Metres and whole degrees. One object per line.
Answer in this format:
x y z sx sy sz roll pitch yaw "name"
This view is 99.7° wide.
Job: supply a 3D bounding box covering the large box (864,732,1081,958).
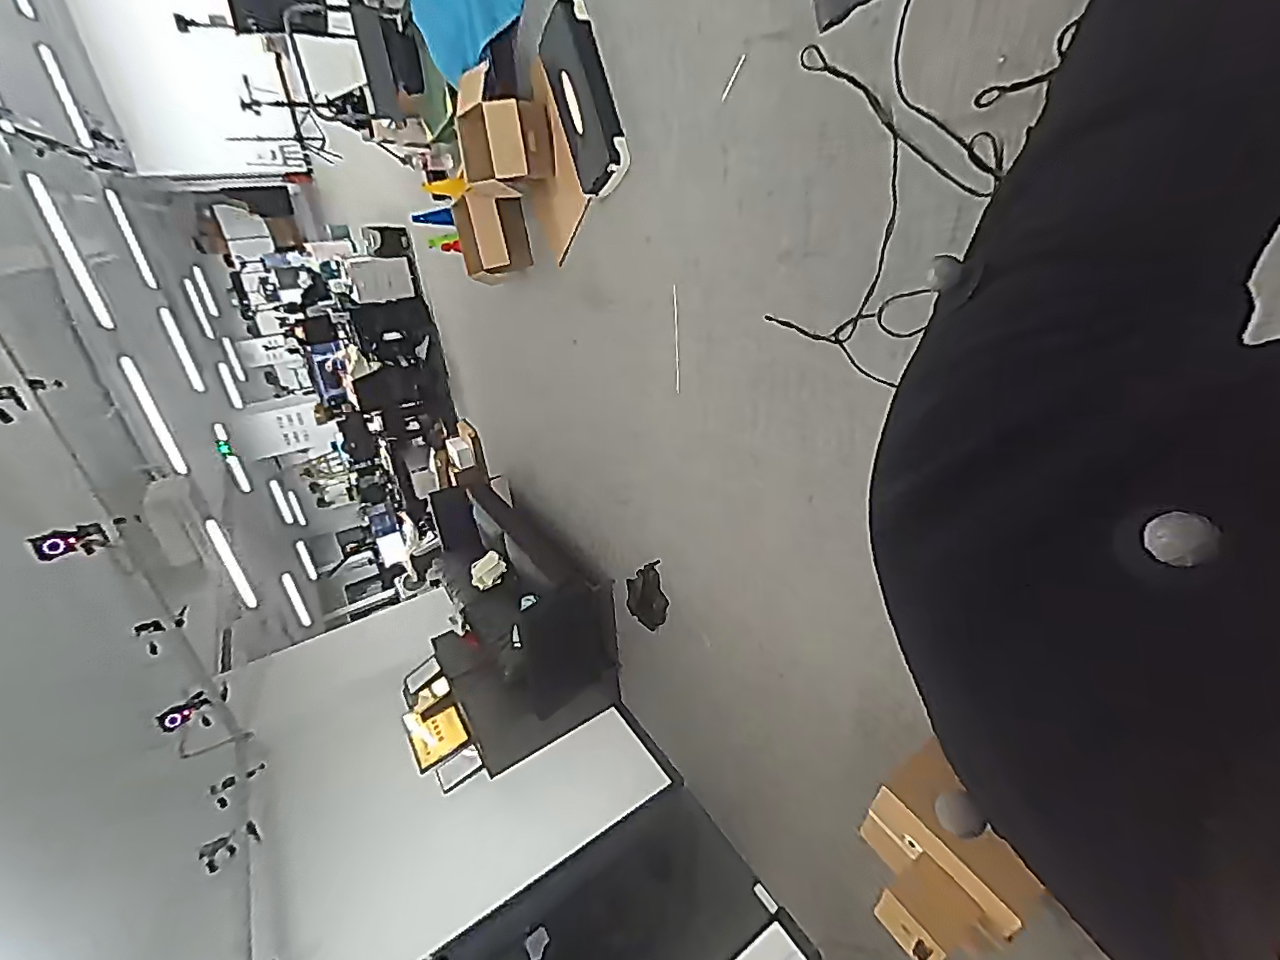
0.964 1.059 1.607 0.408 0.320 0.320 42 141 44 "large box"
